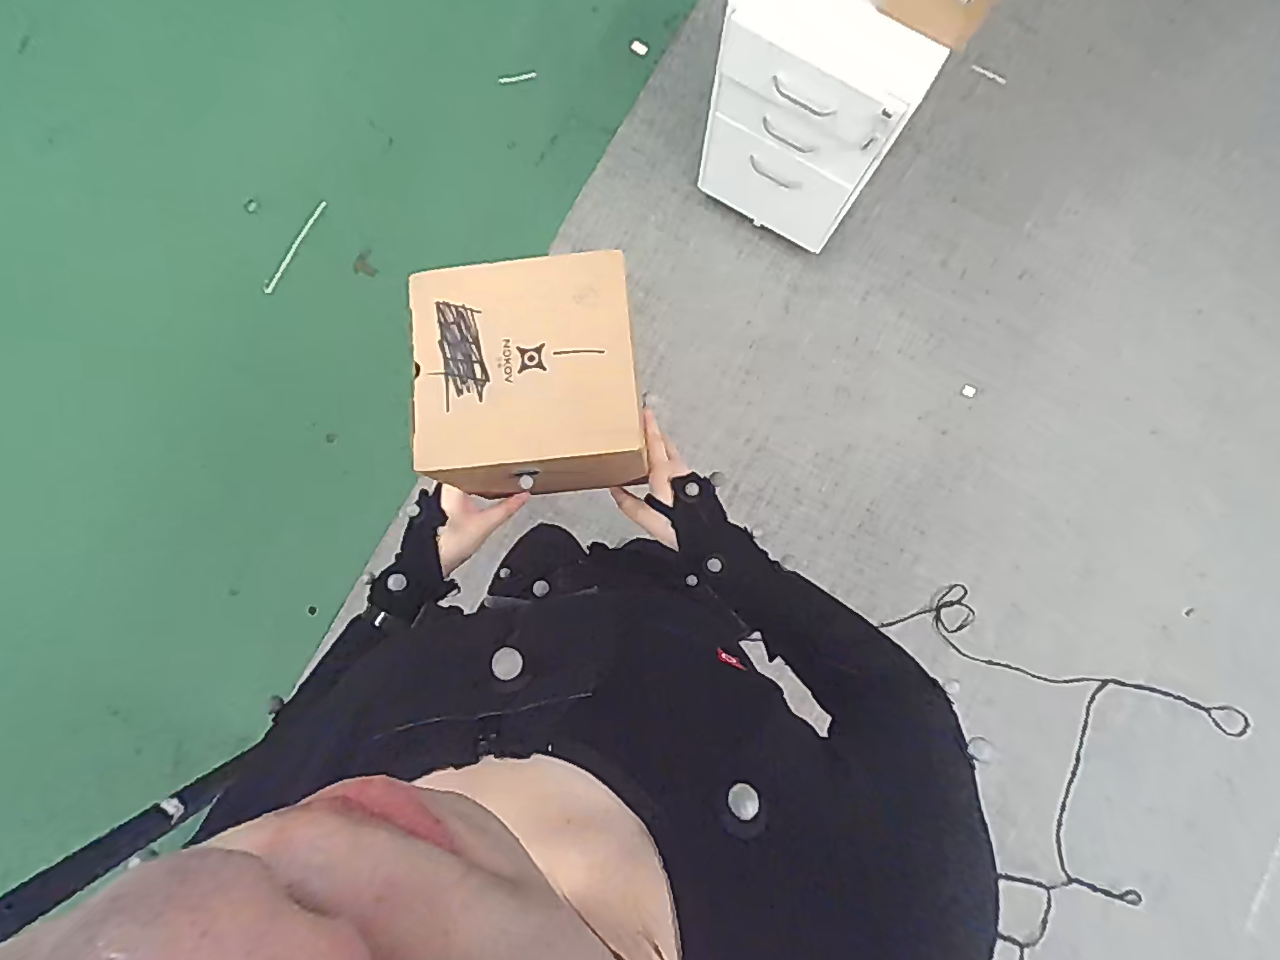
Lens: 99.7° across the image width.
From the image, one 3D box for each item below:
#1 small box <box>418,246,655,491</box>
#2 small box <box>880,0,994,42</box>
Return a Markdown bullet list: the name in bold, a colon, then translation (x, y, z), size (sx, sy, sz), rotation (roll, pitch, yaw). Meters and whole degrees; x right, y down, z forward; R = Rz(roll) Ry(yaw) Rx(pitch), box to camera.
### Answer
- **small box**: translation (-0.082, -0.086, 0.497), size (0.179, 0.176, 0.168), rotation (-6, 81, 2)
- **small box**: translation (0.539, -0.883, 0.893), size (0.179, 0.176, 0.168), rotation (30, 85, 4)
